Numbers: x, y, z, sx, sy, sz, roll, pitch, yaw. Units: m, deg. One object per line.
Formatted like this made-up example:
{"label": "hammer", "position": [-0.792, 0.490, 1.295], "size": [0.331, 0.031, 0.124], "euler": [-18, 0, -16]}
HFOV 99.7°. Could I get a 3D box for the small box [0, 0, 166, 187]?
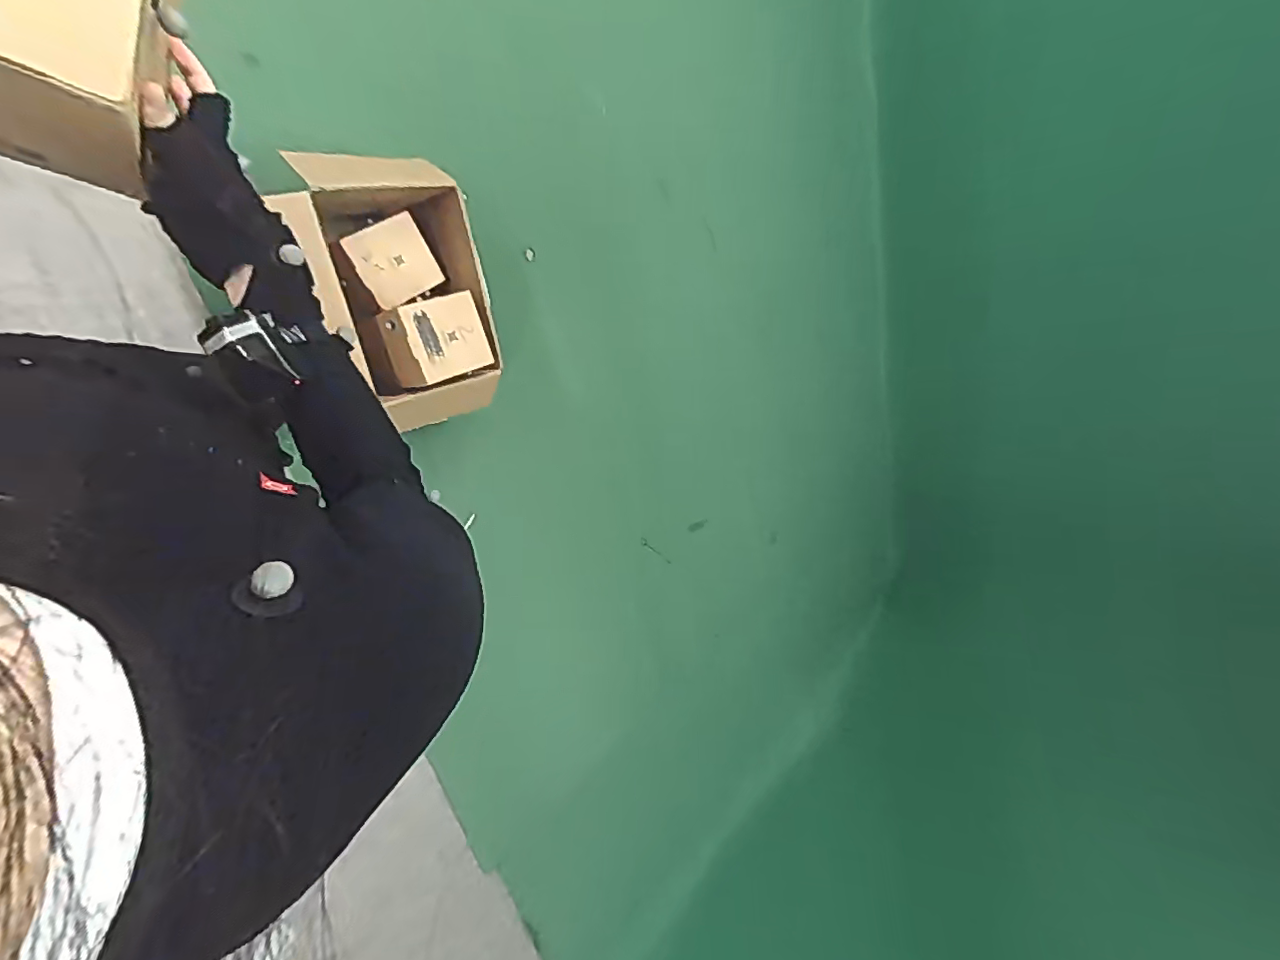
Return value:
{"label": "small box", "position": [-0.399, -0.313, 0.317], "size": [0.168, 0.176, 0.179], "euler": [8, 92, -39]}
